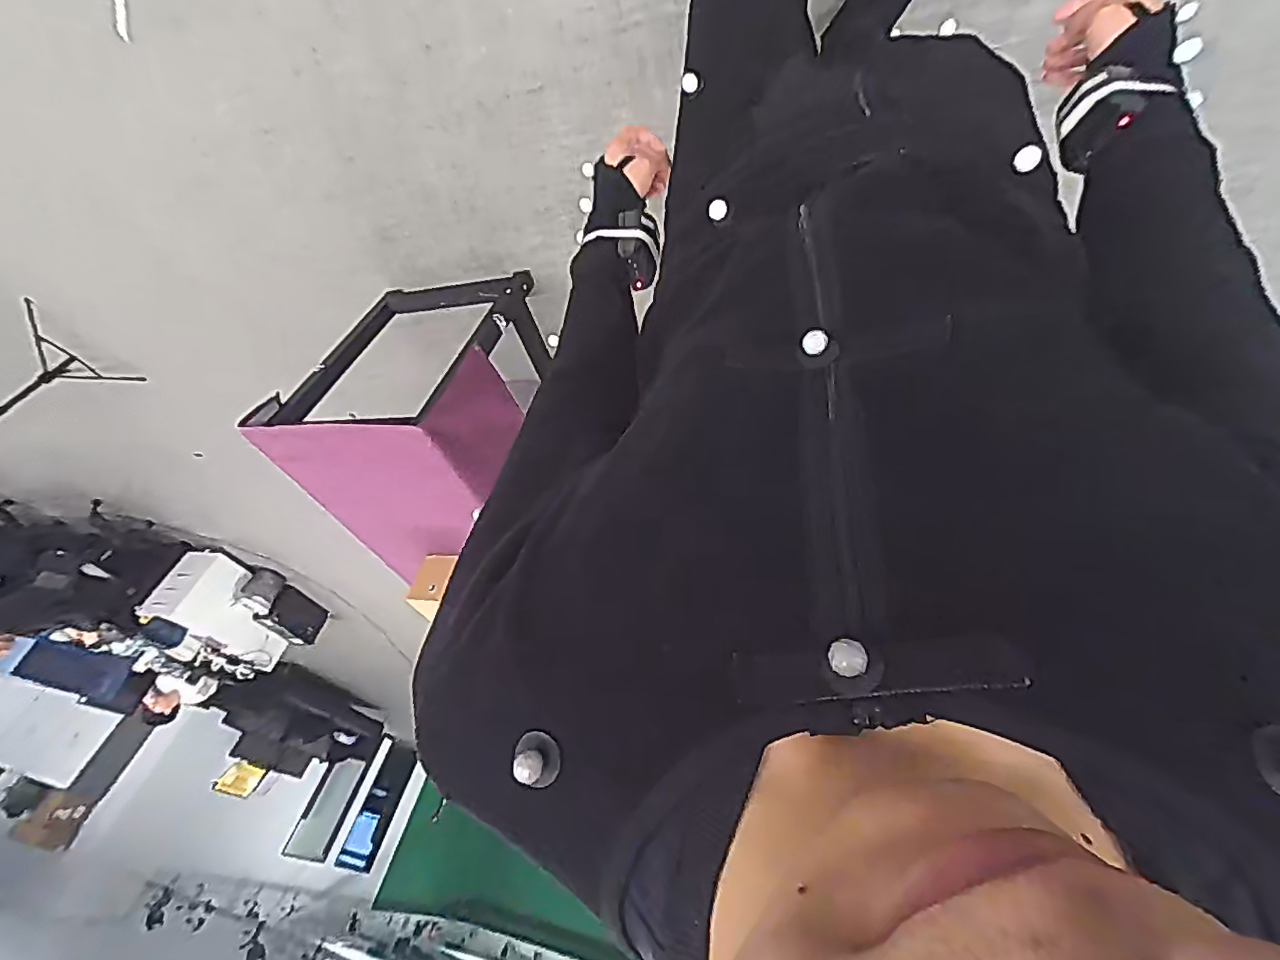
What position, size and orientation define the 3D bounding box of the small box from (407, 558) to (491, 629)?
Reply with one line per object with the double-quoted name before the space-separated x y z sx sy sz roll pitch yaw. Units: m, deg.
"small box" -0.606 0.366 1.752 0.179 0.176 0.168 -1 139 22
